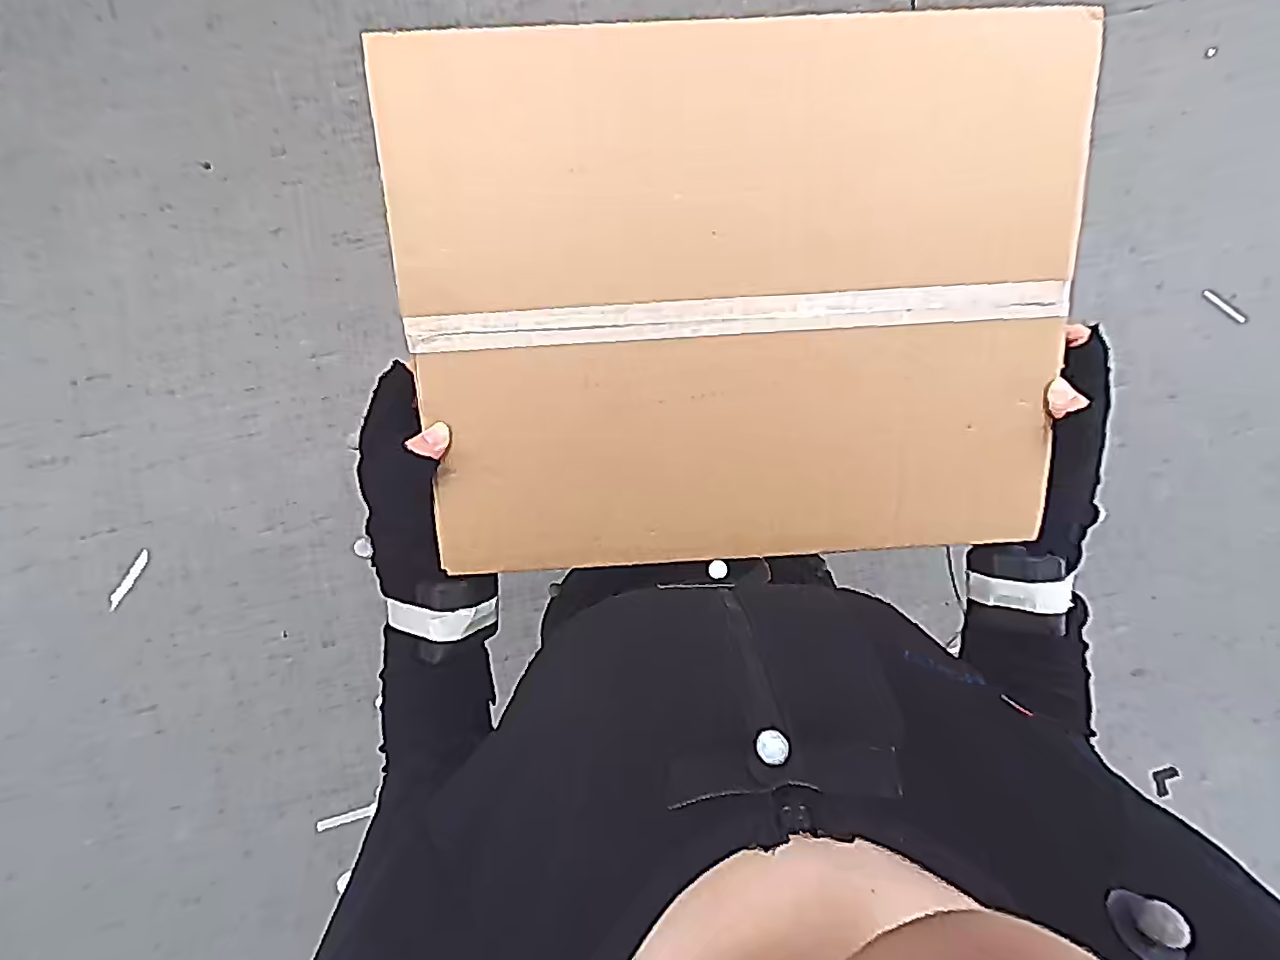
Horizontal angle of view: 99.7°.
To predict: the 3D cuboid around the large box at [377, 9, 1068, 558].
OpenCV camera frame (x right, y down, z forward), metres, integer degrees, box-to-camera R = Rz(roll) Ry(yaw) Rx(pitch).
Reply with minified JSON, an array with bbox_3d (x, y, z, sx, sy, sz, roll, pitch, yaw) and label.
[{"bbox_3d":[0.051,-0.142,0.484,0.408,0.320,0.320,-3,105,-1],"label":"large box"}]
